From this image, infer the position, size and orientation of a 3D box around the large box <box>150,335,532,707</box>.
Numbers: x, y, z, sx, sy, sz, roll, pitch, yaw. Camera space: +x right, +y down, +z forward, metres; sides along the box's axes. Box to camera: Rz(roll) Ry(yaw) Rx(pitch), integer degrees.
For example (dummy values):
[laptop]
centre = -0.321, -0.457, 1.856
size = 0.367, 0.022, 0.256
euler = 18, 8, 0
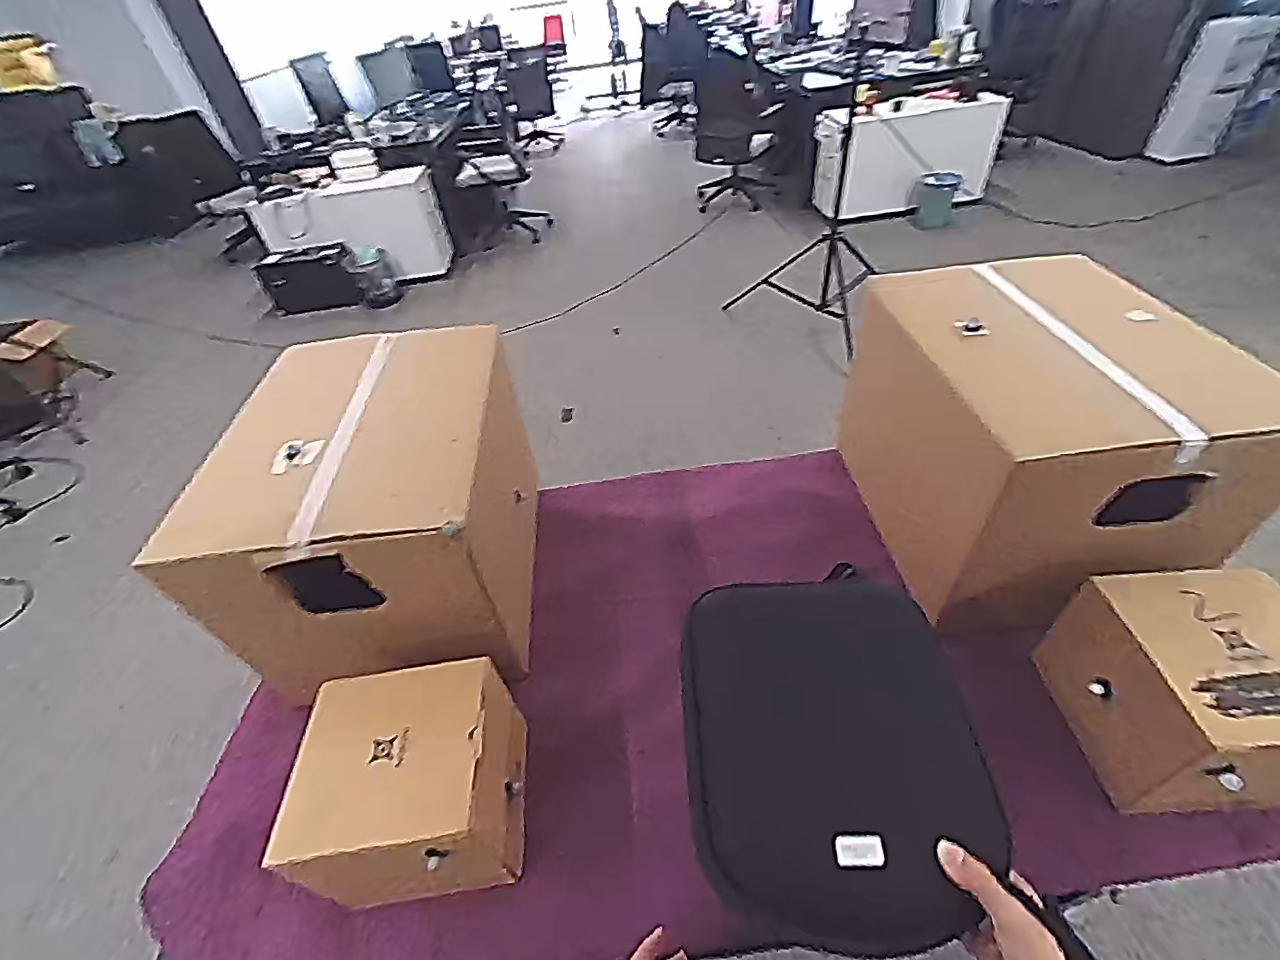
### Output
[large box]
centre = -0.332, 0.045, 0.760
size = 0.320, 0.320, 0.408
euler = -8, 45, -2

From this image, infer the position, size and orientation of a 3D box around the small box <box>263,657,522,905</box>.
[small box]
centre = -0.232, 0.314, 0.563
size = 0.179, 0.176, 0.168
euler = -9, 42, -3
